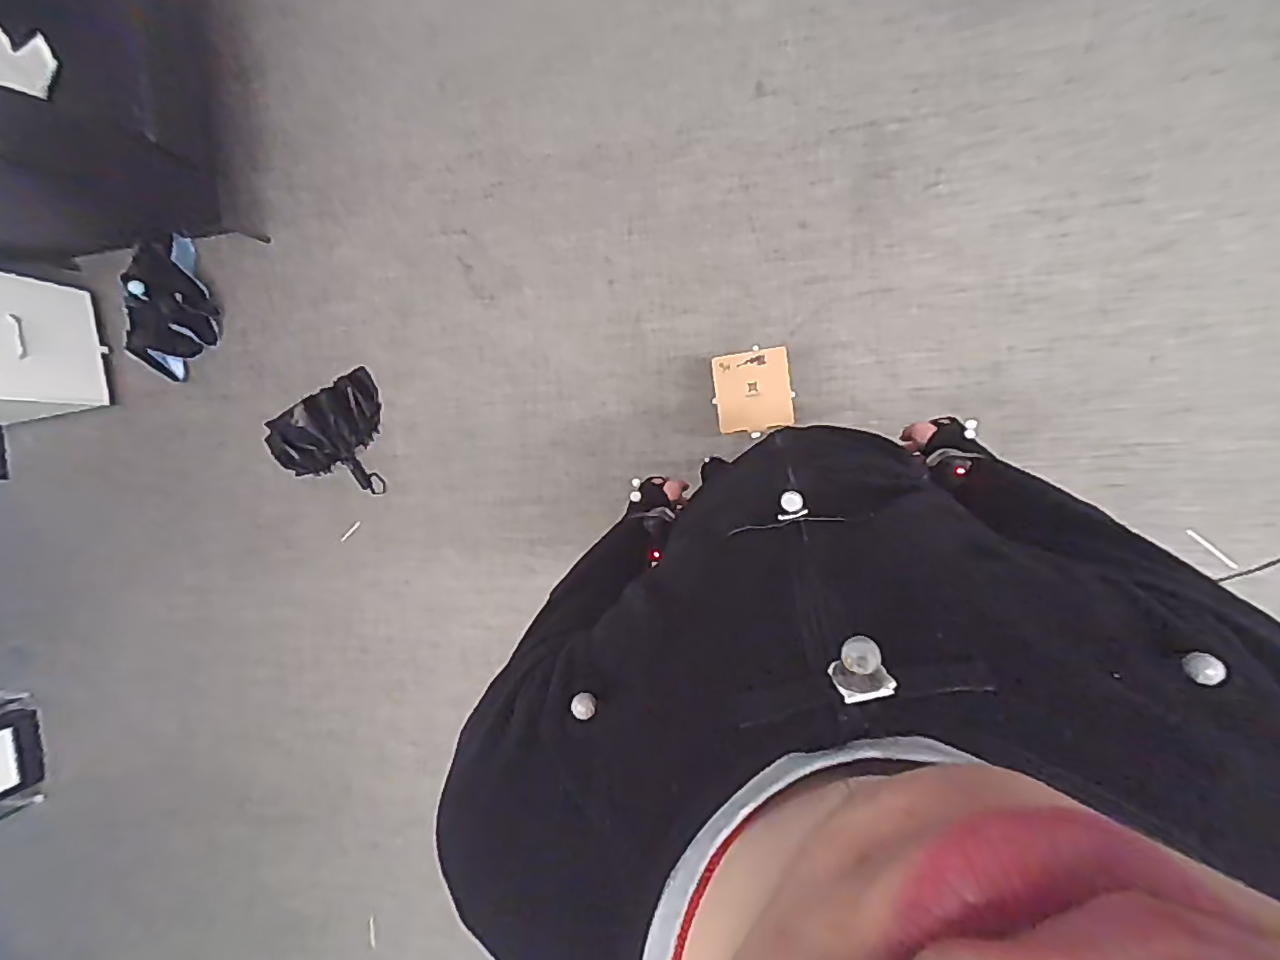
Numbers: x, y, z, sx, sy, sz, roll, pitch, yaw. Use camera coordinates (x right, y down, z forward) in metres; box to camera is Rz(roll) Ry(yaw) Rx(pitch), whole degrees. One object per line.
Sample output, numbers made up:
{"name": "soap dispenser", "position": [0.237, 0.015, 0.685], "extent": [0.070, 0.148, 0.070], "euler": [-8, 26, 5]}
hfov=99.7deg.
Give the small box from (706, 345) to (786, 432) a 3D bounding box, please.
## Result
{"name": "small box", "position": [0.255, -0.212, 1.289], "extent": [0.168, 0.176, 0.179], "euler": [-6, 94, 12]}
